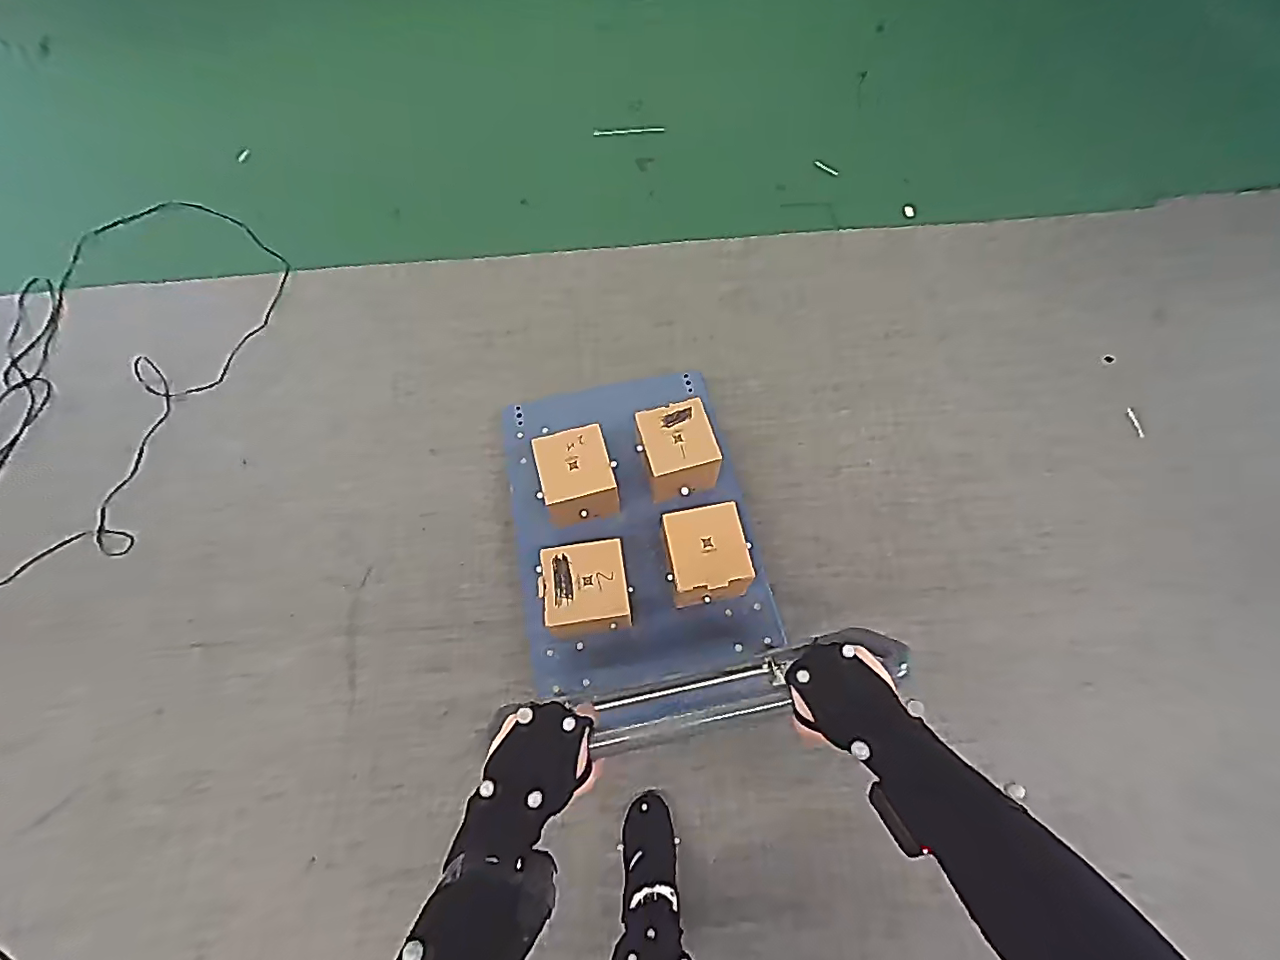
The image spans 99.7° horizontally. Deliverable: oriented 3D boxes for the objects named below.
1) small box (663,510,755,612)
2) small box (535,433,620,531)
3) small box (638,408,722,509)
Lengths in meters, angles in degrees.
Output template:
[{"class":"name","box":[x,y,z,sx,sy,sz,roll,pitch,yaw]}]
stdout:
[{"class":"small box","box":[0.150,0.190,1.245,0.168,0.176,0.179,-11,66,-3]},{"class":"small box","box":[-0.148,0.015,1.333,0.168,0.176,0.179,-14,66,-6]},{"class":"small box","box":[0.094,-0.050,1.356,0.168,0.176,0.179,-15,67,-4]}]
